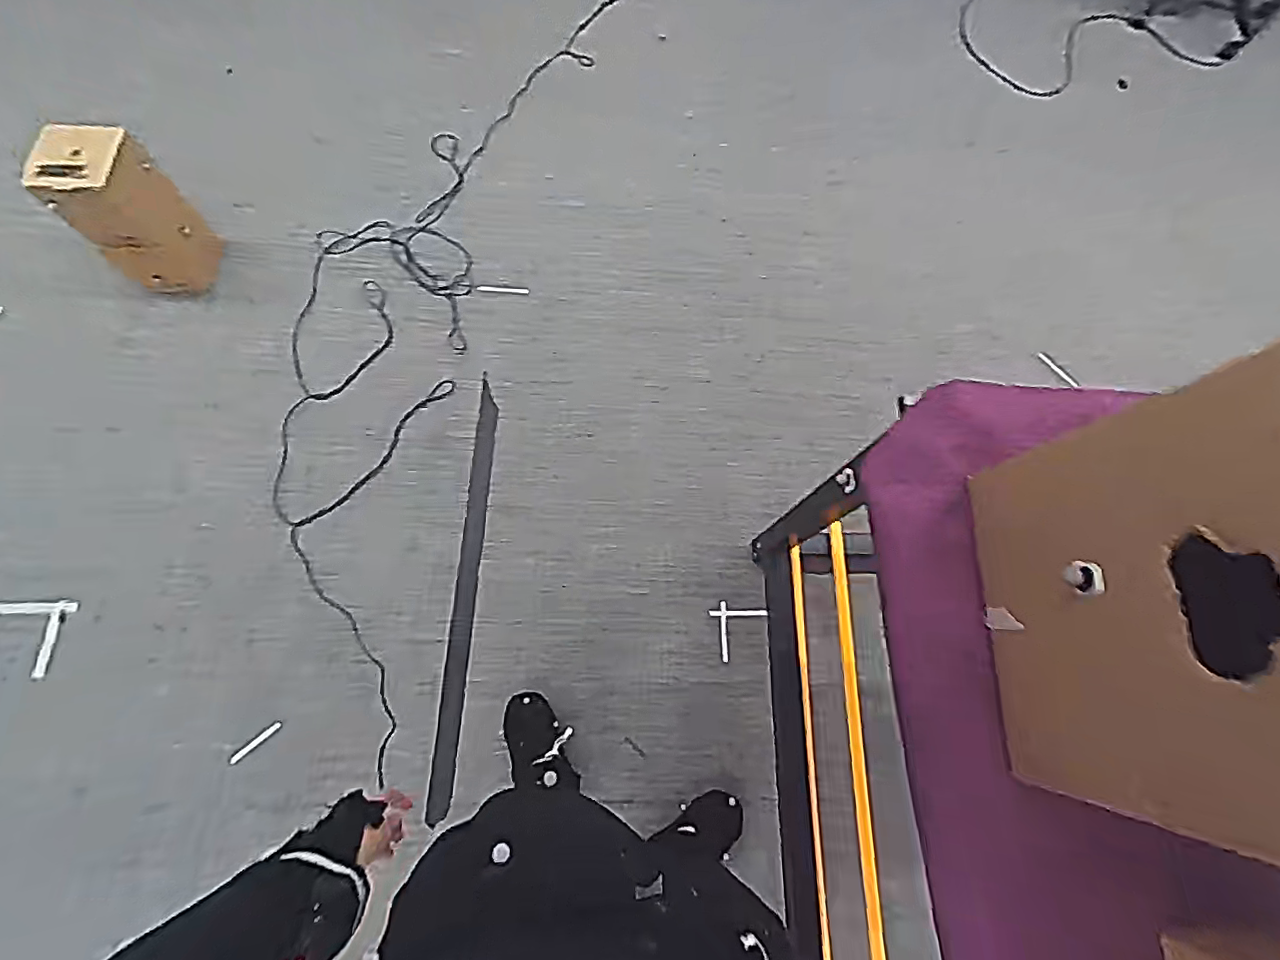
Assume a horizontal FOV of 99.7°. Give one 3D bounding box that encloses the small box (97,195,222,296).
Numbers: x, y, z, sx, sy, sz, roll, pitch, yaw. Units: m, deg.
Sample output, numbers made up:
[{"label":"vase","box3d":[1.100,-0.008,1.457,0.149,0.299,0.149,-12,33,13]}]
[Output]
[{"label":"small box","box3d":[-1.225,-0.601,1.394,0.168,0.176,0.179,-4,72,-6]}]
